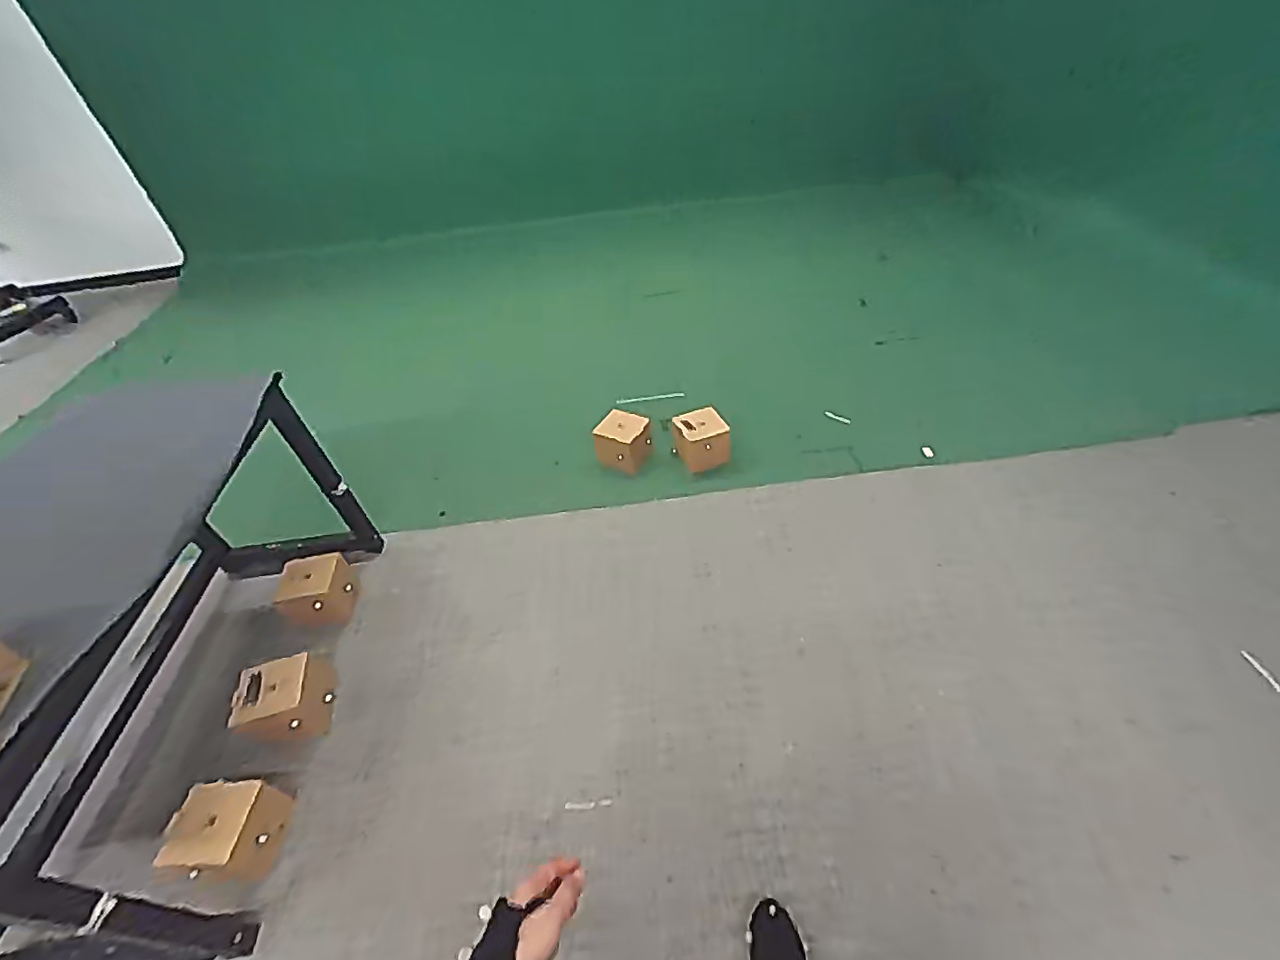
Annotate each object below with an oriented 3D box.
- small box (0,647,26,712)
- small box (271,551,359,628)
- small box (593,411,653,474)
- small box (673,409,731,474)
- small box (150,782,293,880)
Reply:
[{"bbox_3d":[-1.070,0.315,0.764,0.179,0.176,0.168,-16,45,-9],"label":"small box"},{"bbox_3d":[-1.047,0.360,1.762,0.179,0.176,0.168,-10,44,-4],"label":"small box"},{"bbox_3d":[-0.062,-0.147,2.161,0.179,0.176,0.168,18,49,25],"label":"small box"},{"bbox_3d":[0.243,-0.148,2.122,0.179,0.176,0.168,-18,45,-12],"label":"small box"},{"bbox_3d":[-0.969,0.829,1.276,0.179,0.176,0.168,-5,44,3],"label":"small box"}]
